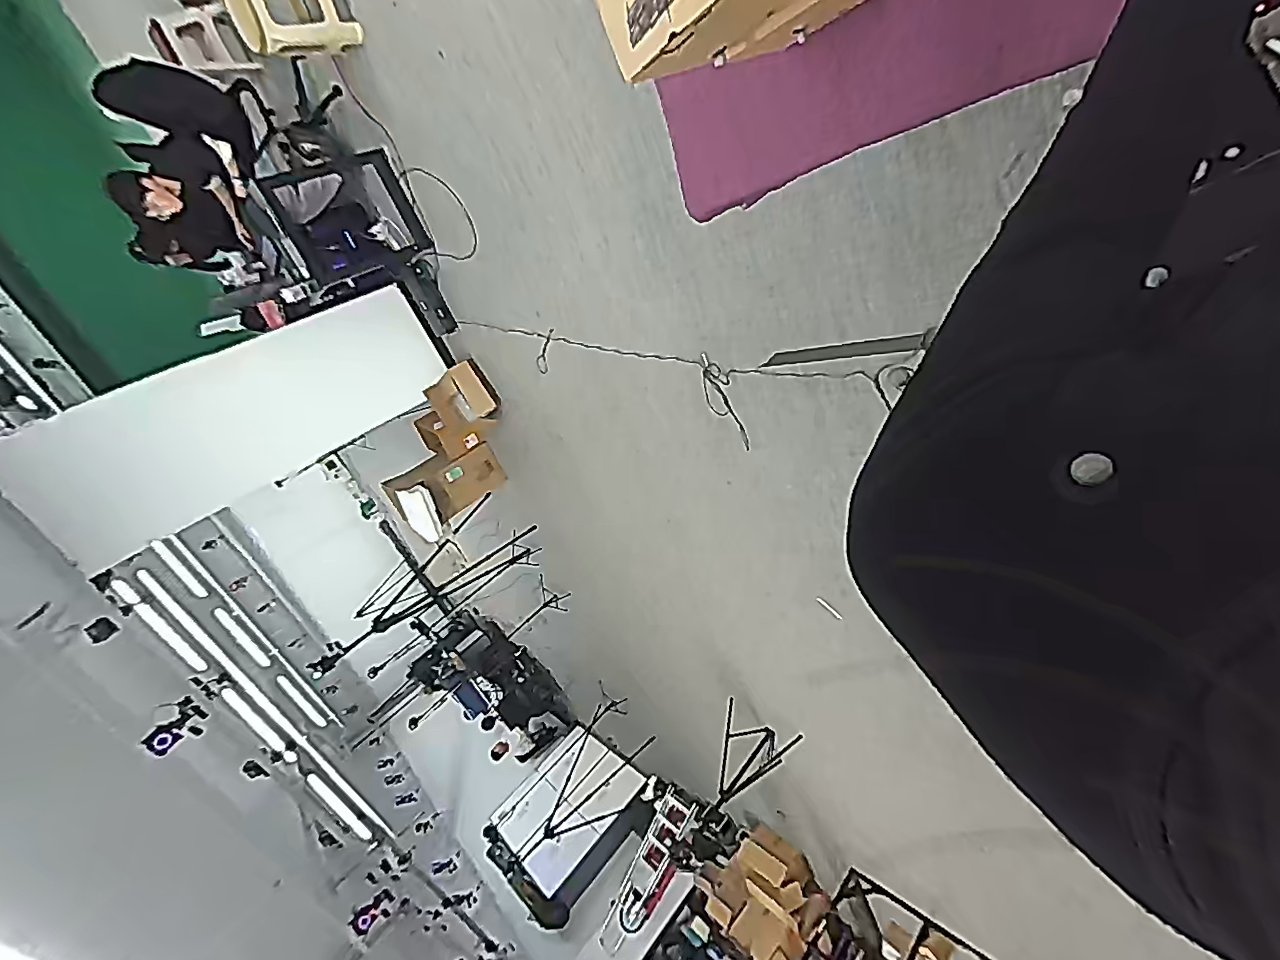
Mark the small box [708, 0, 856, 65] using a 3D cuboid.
[{"bbox_3d":[0.169,-0.645,0.645,0.168,0.176,0.179,9,130,48],"label":"small box"}]

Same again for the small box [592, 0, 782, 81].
[{"bbox_3d":[0.051,-0.565,0.561,0.168,0.176,0.179,4,126,51],"label":"small box"}]
